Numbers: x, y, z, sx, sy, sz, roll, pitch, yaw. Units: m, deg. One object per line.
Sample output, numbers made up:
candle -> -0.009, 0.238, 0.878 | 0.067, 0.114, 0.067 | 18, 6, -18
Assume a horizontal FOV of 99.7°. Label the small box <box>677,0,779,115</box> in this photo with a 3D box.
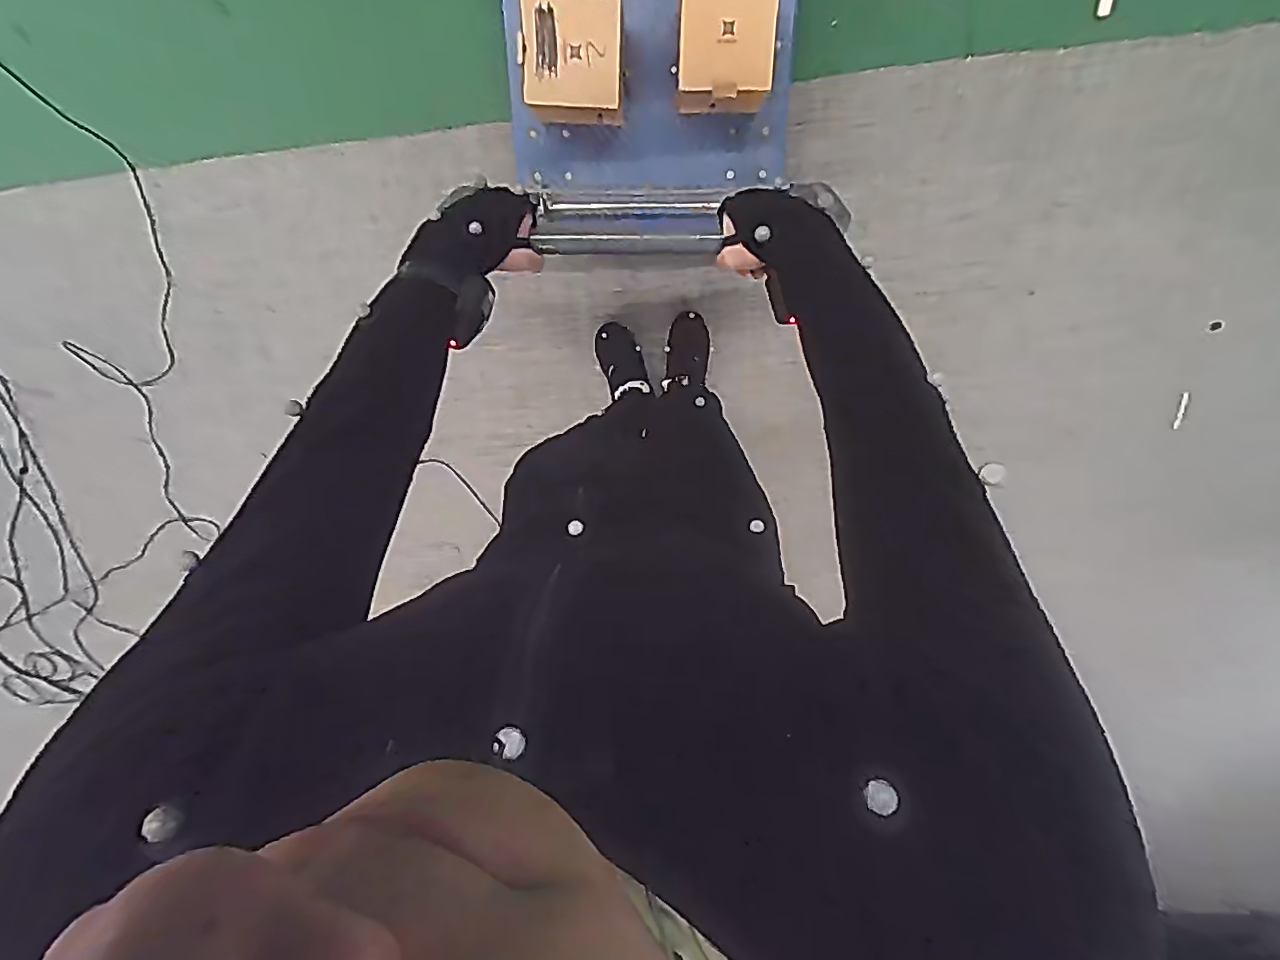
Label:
small box -> 0.155, -0.802, 1.008 | 0.168, 0.176, 0.179 | 1, 115, 2
